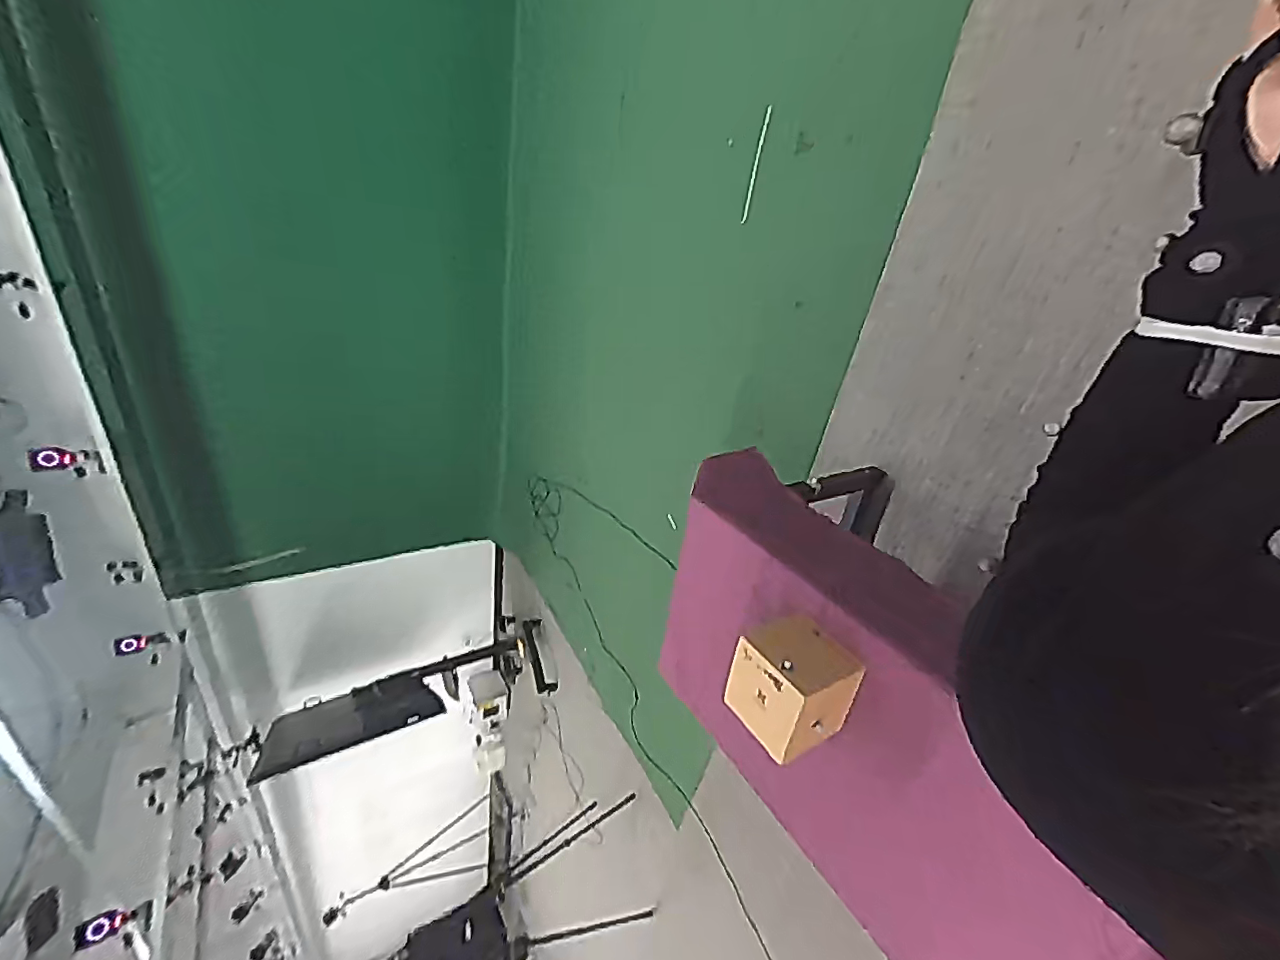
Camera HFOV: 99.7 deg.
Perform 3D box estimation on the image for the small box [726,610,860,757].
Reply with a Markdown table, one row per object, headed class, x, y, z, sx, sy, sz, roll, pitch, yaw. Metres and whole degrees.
| class | x | y | z | sx | sy | sz | roll | pitch | yaw |
| --- | --- | --- | --- | --- | --- | --- | --- | --- | --- |
| small box | 0.295 | 0.384 | 1.047 | 0.168 | 0.176 | 0.179 | 39 | 131 | 46 |
